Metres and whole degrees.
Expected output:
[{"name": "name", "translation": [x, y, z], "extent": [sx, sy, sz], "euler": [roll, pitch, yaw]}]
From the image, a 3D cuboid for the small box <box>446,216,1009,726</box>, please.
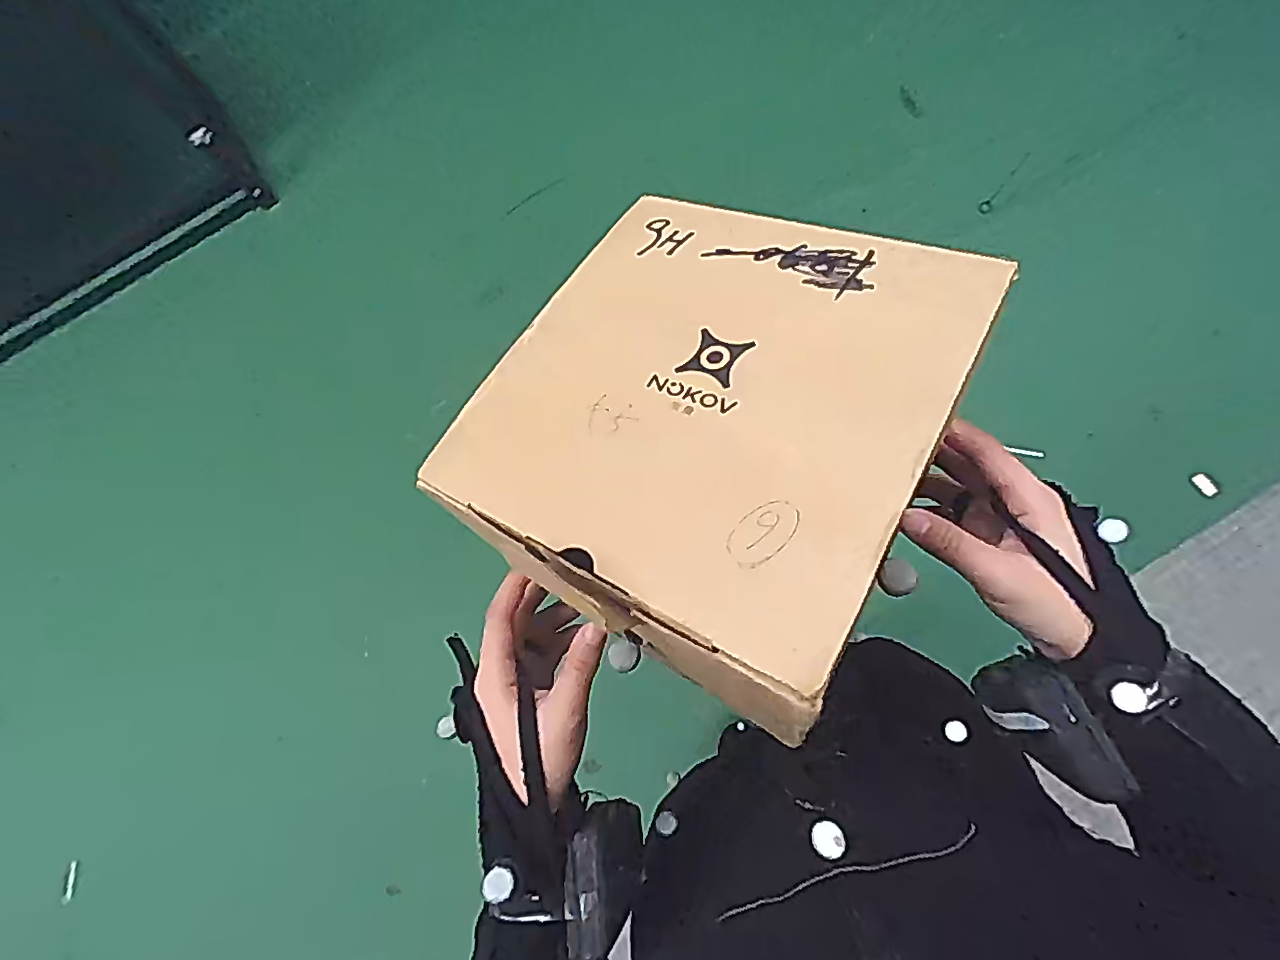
[{"name": "small box", "translation": [0.047, 0.004, 0.280], "extent": [0.168, 0.176, 0.179], "euler": [25, 71, 25]}]
